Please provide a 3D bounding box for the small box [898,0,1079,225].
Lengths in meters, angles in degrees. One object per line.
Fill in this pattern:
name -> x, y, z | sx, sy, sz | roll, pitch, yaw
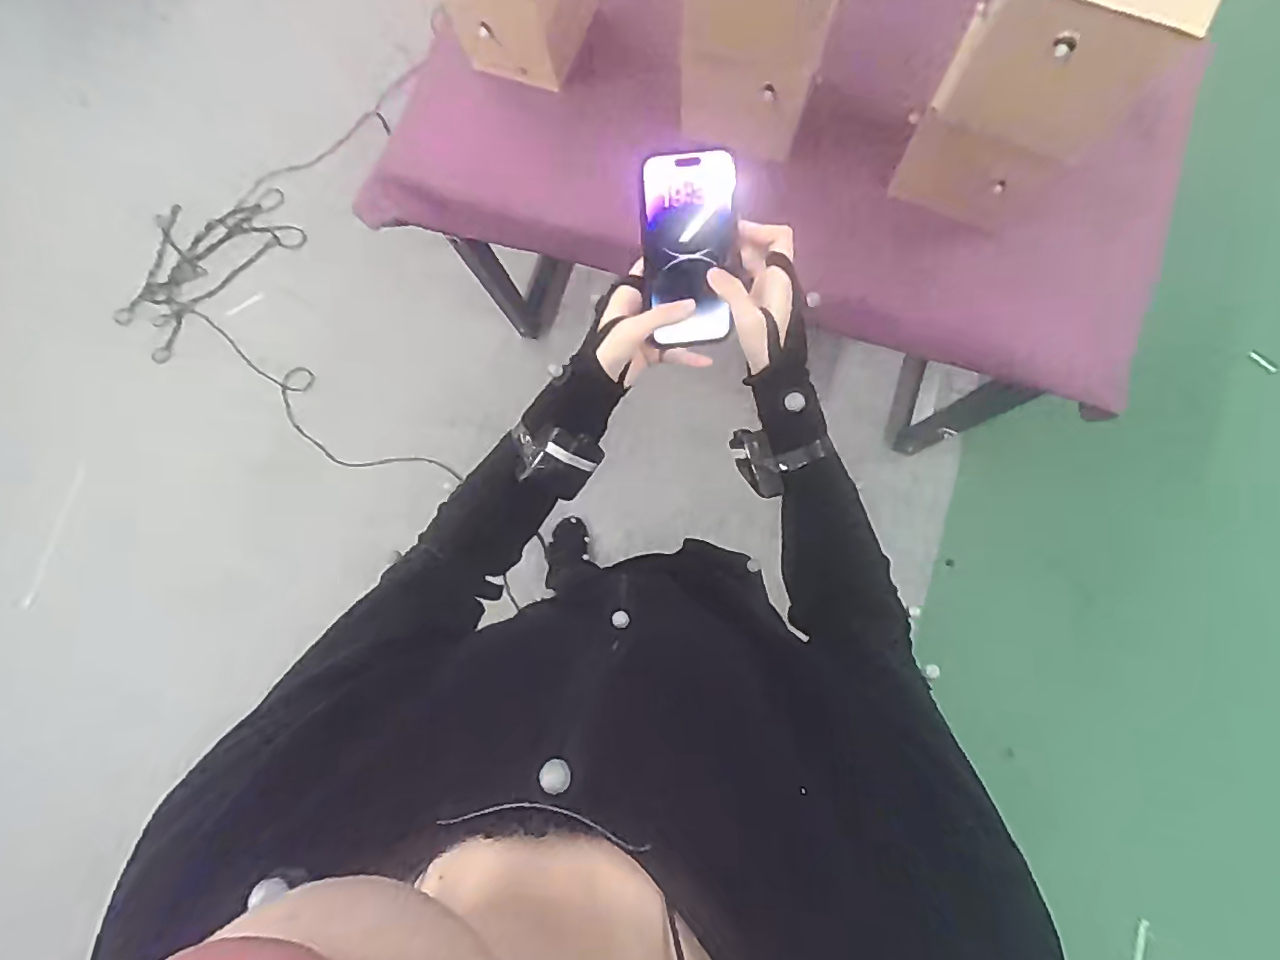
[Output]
small box -> 0.494, -0.487, 0.742 | 0.179, 0.176, 0.168 | 26, 84, 9

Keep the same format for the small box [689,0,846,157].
small box -> 0.180, -0.613, 0.789 | 0.179, 0.176, 0.168 | 19, 84, 8

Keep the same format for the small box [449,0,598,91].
small box -> -0.177, -0.761, 0.846 | 0.168, 0.176, 0.179 | 20, 84, 8
